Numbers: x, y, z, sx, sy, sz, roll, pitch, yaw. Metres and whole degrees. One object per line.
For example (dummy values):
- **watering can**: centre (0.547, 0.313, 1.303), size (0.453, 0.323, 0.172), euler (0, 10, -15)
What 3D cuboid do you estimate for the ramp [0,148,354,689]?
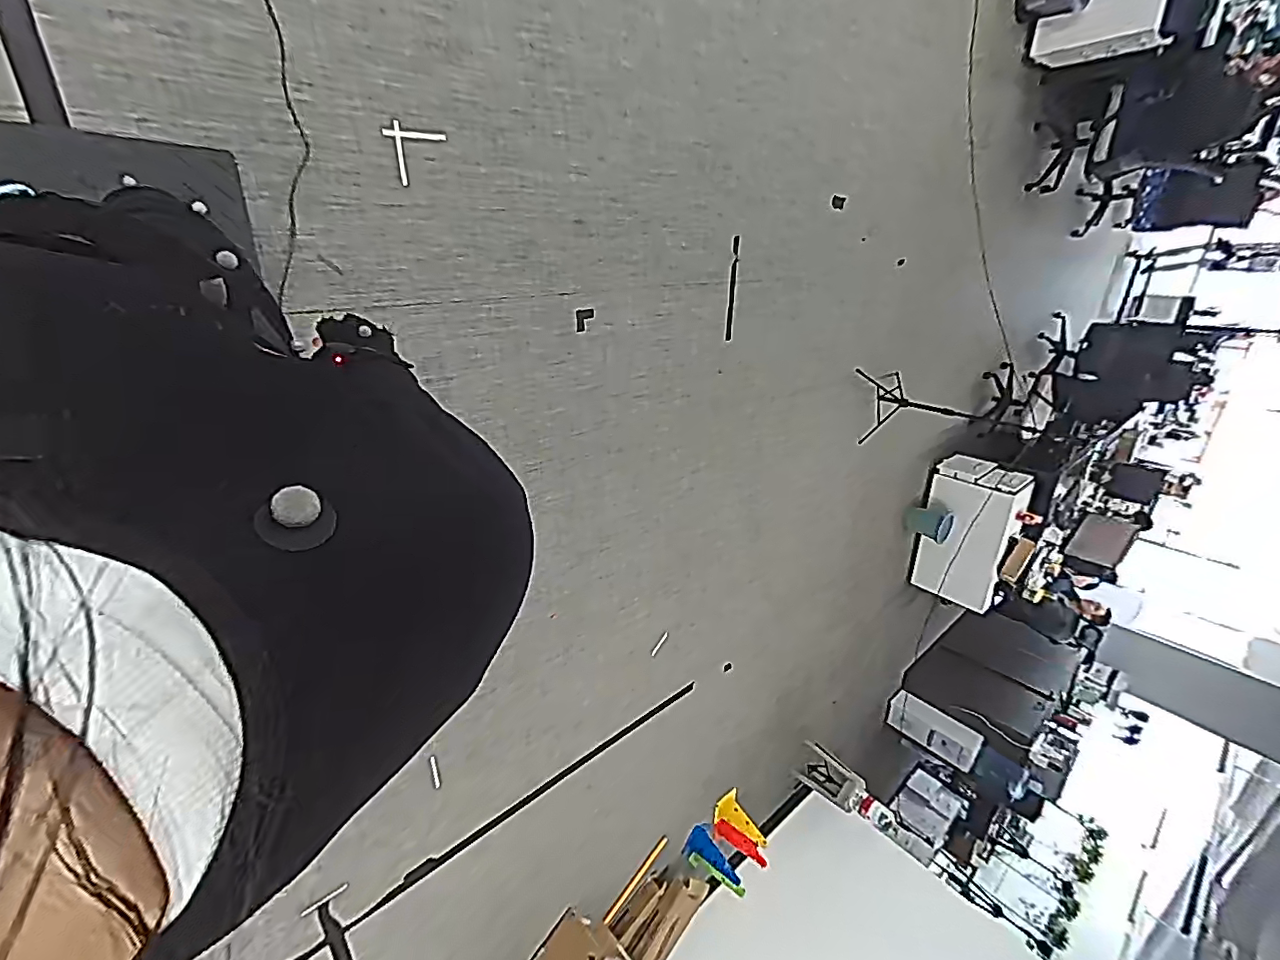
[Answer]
- **ramp**: centre (-0.970, -0.118, 1.106), size (0.509, 0.206, 0.991), euler (-18, 117, -35)
